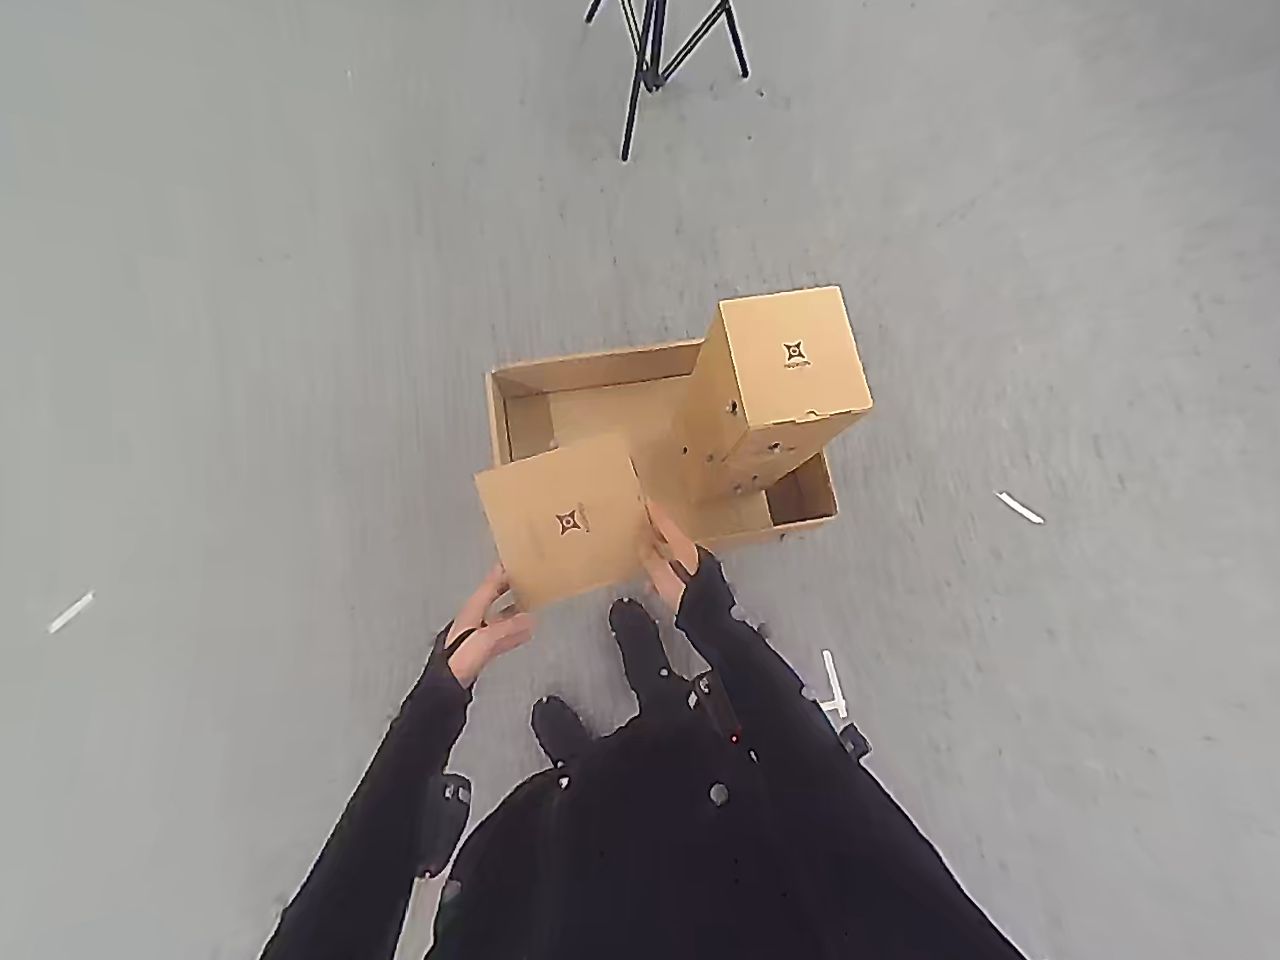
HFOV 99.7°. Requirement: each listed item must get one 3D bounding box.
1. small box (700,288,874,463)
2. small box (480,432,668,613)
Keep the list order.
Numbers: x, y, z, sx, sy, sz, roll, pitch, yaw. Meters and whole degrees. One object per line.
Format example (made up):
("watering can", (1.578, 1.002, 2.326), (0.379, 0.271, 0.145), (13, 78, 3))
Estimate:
("small box", (0.189, -0.138, 0.754), (0.168, 0.176, 0.179), (-10, 79, -6))
("small box", (-0.079, 0.047, 0.681), (0.179, 0.176, 0.168), (-17, 90, -4))
